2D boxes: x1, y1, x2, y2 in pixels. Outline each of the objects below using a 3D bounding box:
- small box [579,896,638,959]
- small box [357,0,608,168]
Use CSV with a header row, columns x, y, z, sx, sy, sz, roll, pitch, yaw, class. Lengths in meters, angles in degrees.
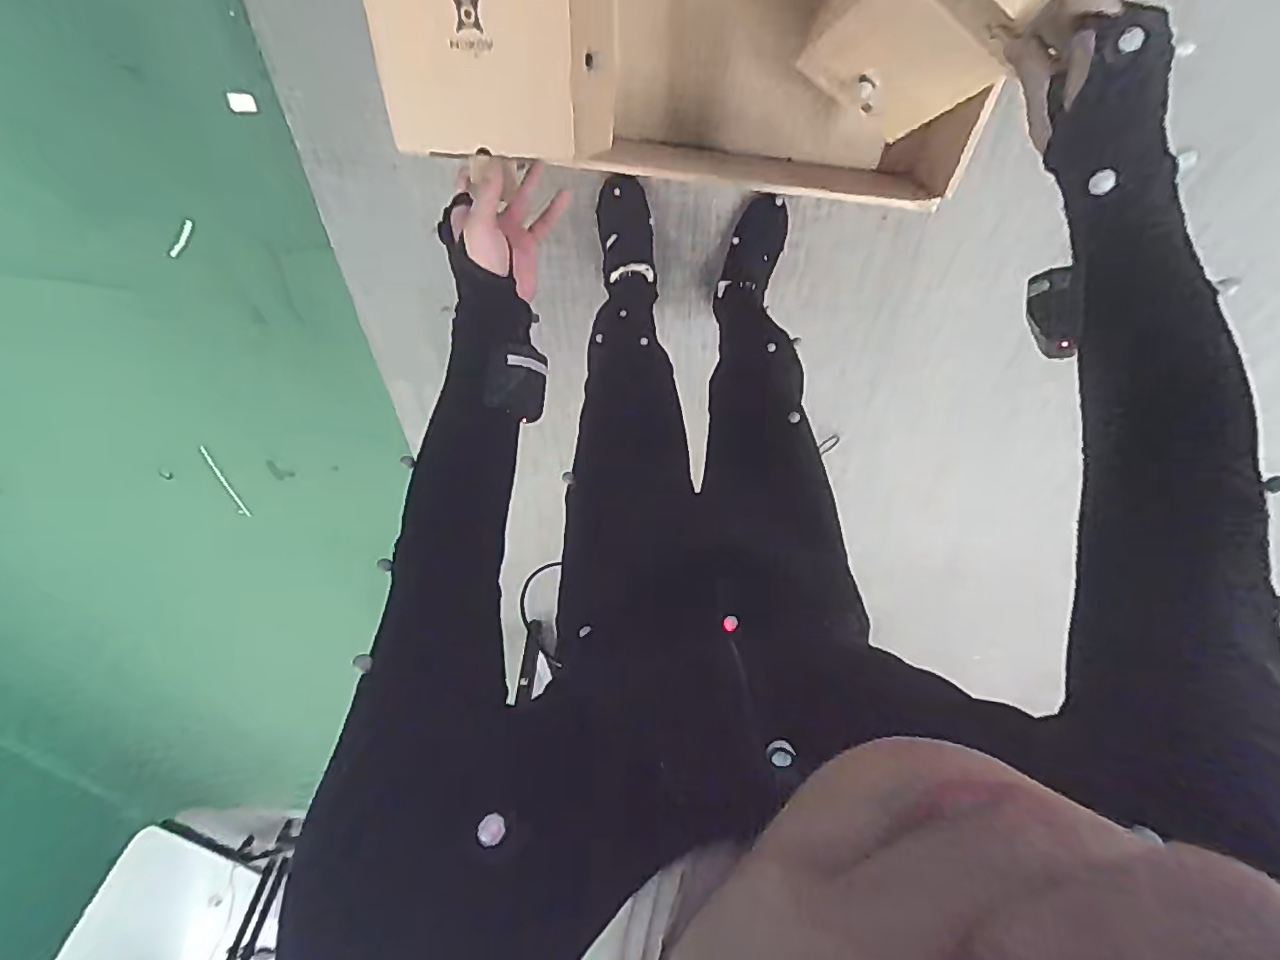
x,y,z,sx,sy,sz,roll,pitch,yaw,class
-0.092,1.381,1.636,0.168,0.176,0.179,0,131,3,small box
-0.125,-0.394,0.484,0.168,0.176,0.179,6,127,7,small box
